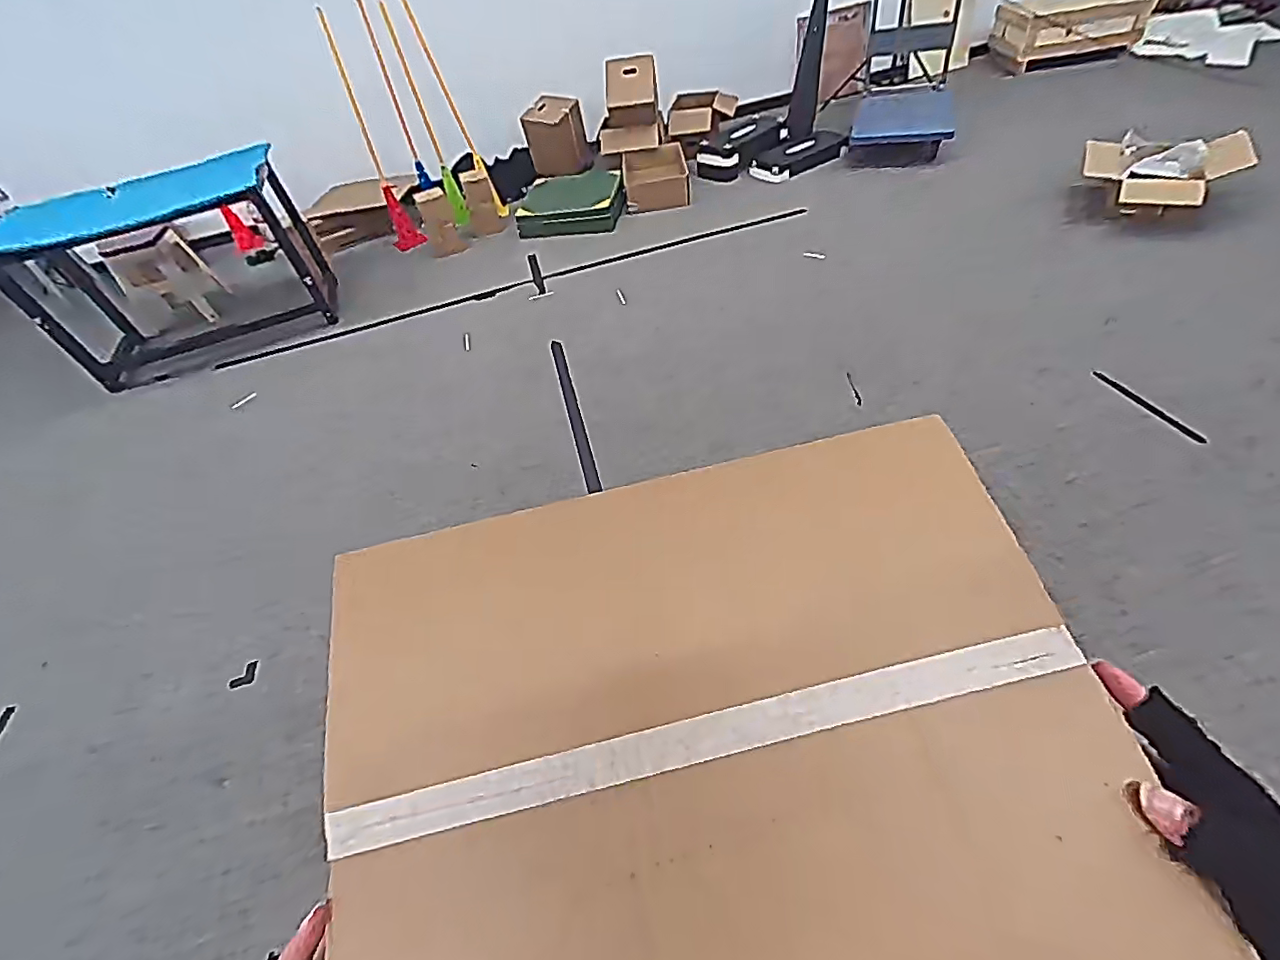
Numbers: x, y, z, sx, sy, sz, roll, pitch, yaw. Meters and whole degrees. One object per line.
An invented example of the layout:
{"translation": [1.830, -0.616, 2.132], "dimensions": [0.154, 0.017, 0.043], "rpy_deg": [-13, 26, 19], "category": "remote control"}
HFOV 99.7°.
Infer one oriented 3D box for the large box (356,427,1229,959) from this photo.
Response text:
{"translation": [0.050, 0.209, 0.432], "dimensions": [0.408, 0.320, 0.320], "rpy_deg": [-14, 64, -2], "category": "large box"}
